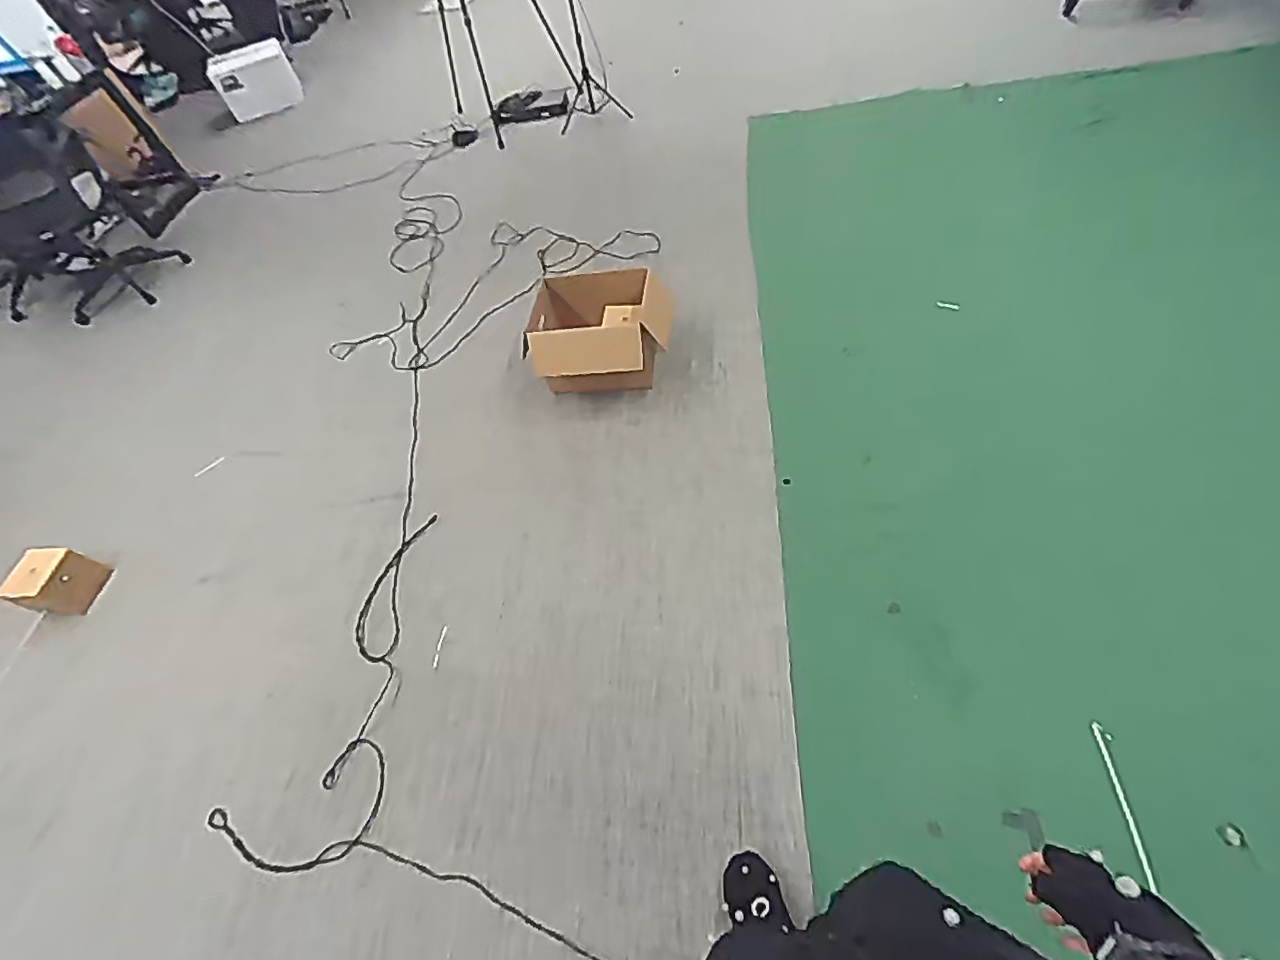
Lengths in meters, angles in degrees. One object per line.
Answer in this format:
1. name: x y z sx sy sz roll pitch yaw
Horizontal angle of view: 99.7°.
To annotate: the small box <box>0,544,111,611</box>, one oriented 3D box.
1. small box: -1.977 0.333 1.841 0.168 0.176 0.179 -3 57 8
